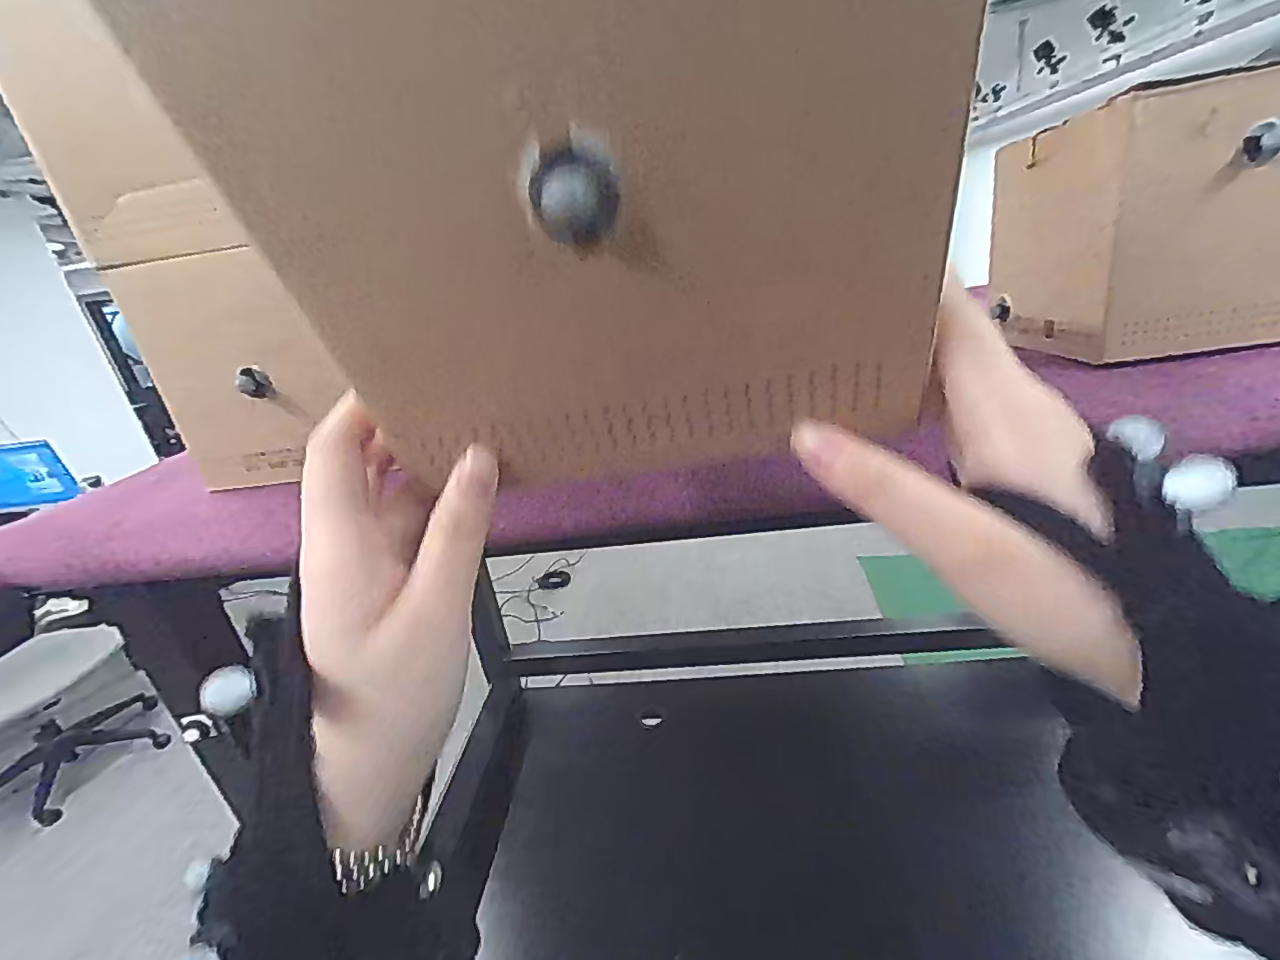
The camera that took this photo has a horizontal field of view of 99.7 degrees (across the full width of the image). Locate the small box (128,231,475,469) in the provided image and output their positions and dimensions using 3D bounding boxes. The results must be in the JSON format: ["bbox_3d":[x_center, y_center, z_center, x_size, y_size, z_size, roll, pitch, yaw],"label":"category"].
[{"bbox_3d":[-0.262,-0.112,0.474,0.168,0.176,0.179,-5,22,5],"label":"small box"}]

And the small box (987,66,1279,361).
[{"bbox_3d":[0.401,-0.193,0.423,0.179,0.176,0.168,-5,19,8],"label":"small box"}]
